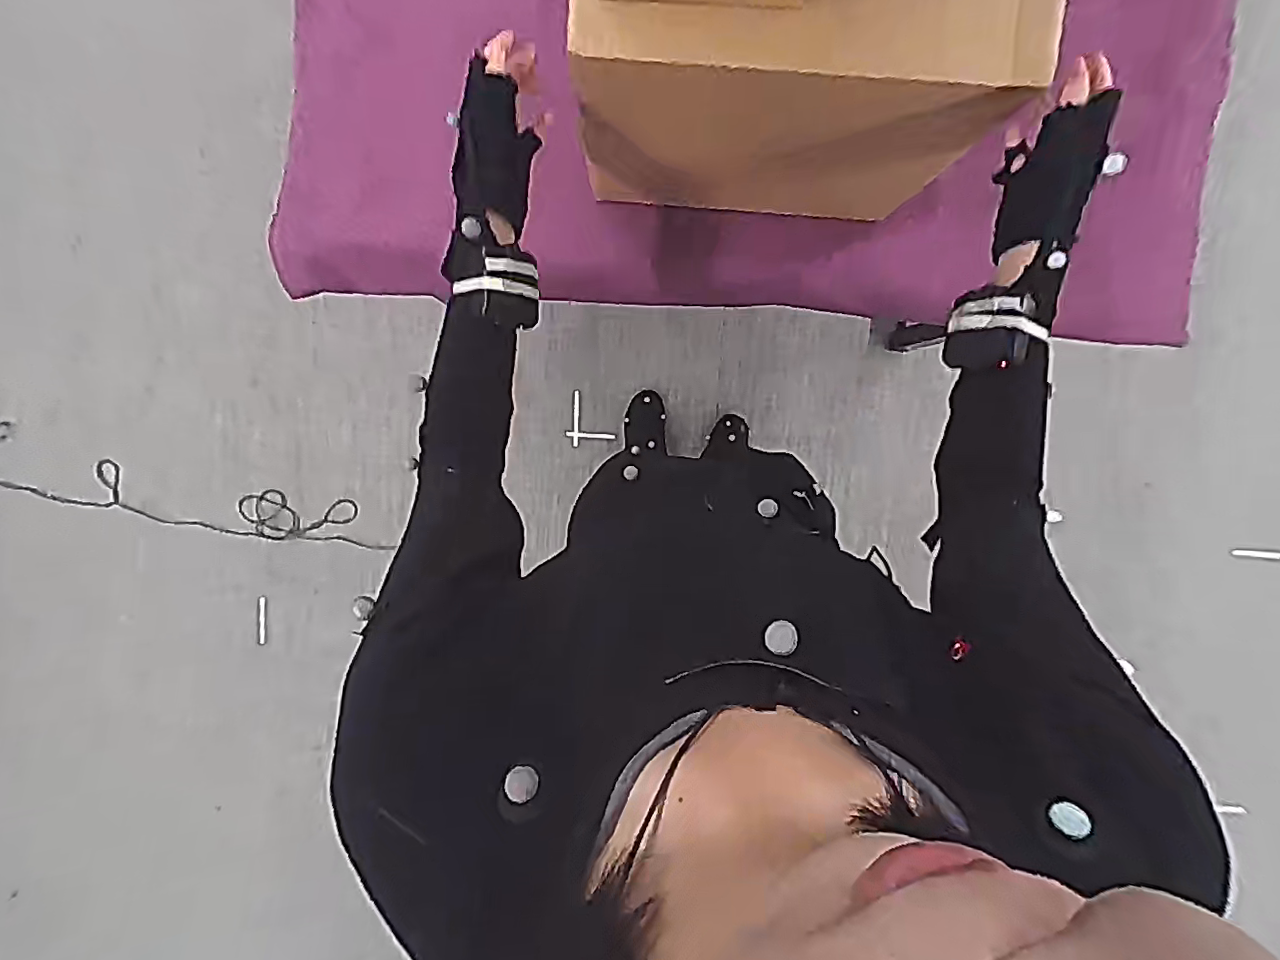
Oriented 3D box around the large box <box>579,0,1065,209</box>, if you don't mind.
[{"bbox_3d":[0.147,-0.507,0.572,0.408,0.320,0.320,2,98,-2],"label":"large box"}]
